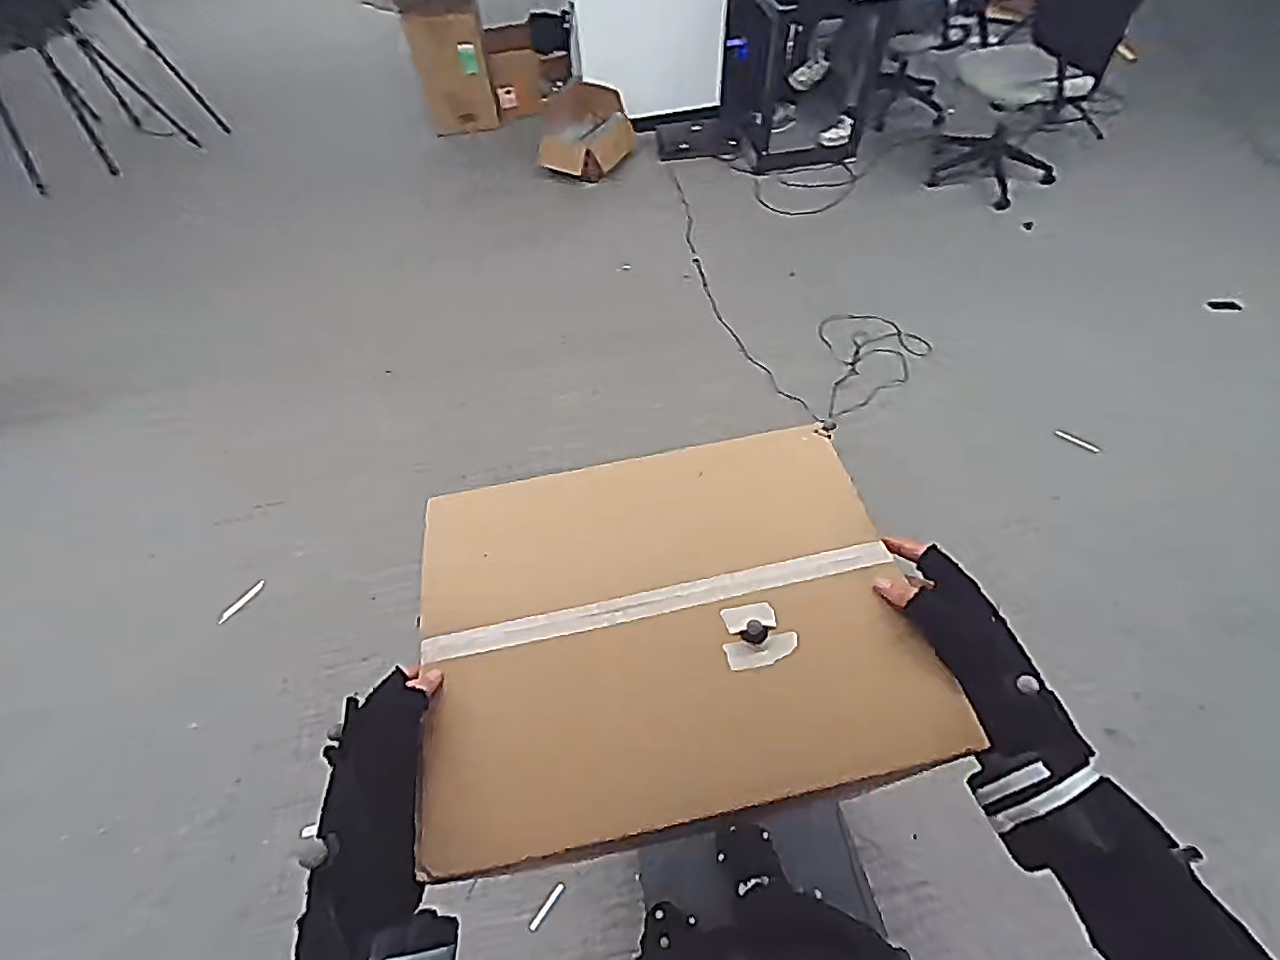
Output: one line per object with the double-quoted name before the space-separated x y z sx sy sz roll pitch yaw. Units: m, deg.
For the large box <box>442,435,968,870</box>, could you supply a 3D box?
"large box" 0.033 0.197 0.595 0.408 0.320 0.320 -11 55 -4
